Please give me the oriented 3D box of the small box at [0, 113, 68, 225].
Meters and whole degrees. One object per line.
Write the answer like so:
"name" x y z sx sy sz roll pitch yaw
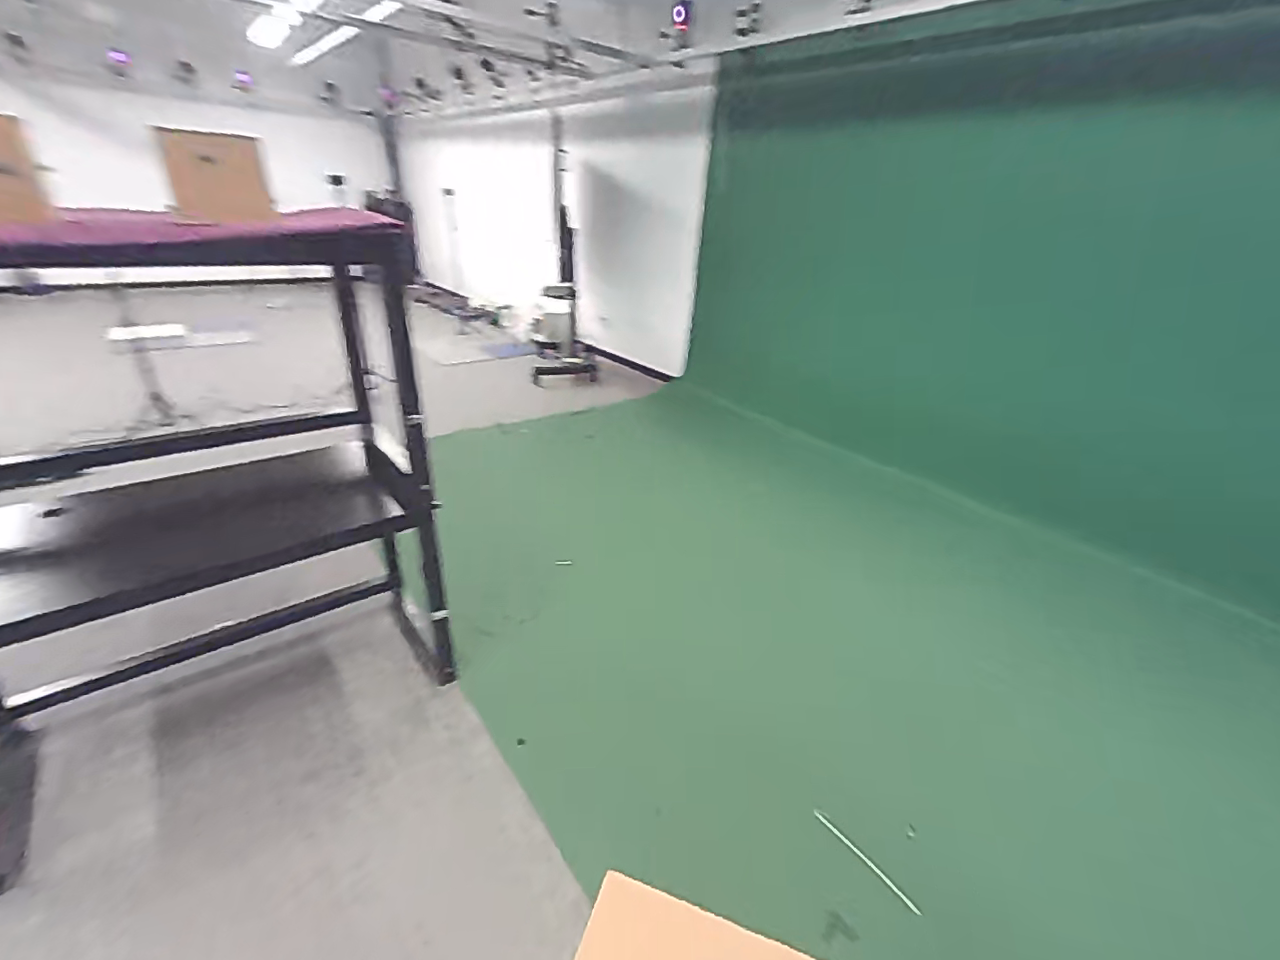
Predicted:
"small box" -1.141 -0.537 0.932 0.179 0.176 0.168 -19 35 -36

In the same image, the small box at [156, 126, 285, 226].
"small box" -0.884 -0.635 1.147 0.179 0.176 0.168 -17 32 -34
